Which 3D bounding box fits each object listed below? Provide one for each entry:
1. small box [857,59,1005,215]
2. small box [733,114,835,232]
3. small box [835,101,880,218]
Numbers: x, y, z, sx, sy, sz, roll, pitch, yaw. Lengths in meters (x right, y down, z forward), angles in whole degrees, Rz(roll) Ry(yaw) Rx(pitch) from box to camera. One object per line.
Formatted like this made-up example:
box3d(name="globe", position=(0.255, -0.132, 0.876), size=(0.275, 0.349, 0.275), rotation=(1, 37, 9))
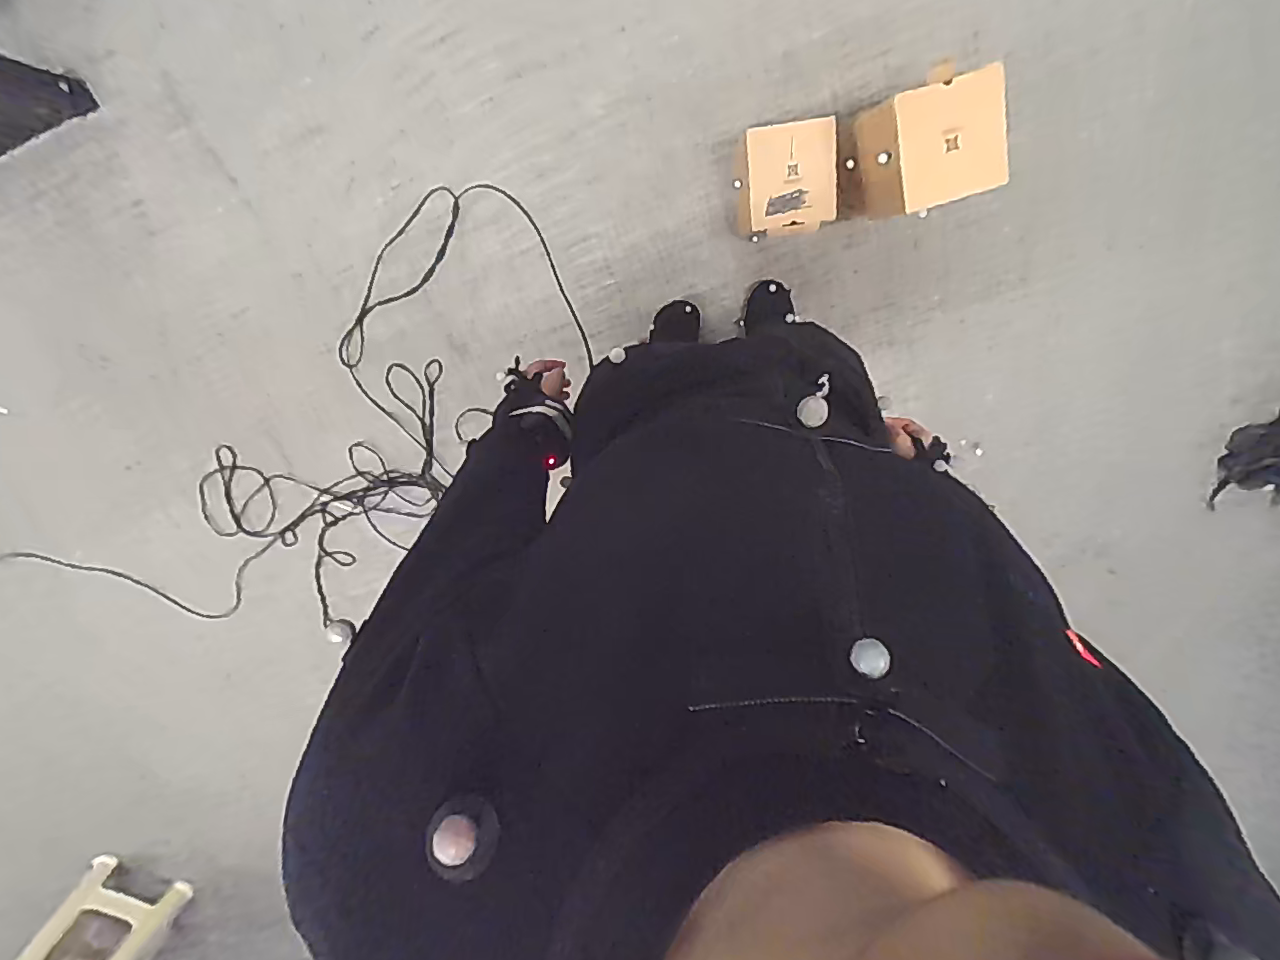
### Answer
box3d(name="small box", position=(0.489, -0.567, 0.924), size=(0.168, 0.176, 0.179), rotation=(-15, 110, 7))
box3d(name="small box", position=(0.284, -0.604, 1.087), size=(0.168, 0.176, 0.179), rotation=(-6, 110, 3))
box3d(name="small box", position=(0.499, -0.641, 1.070), size=(0.168, 0.176, 0.179), rotation=(-15, 109, 6))
